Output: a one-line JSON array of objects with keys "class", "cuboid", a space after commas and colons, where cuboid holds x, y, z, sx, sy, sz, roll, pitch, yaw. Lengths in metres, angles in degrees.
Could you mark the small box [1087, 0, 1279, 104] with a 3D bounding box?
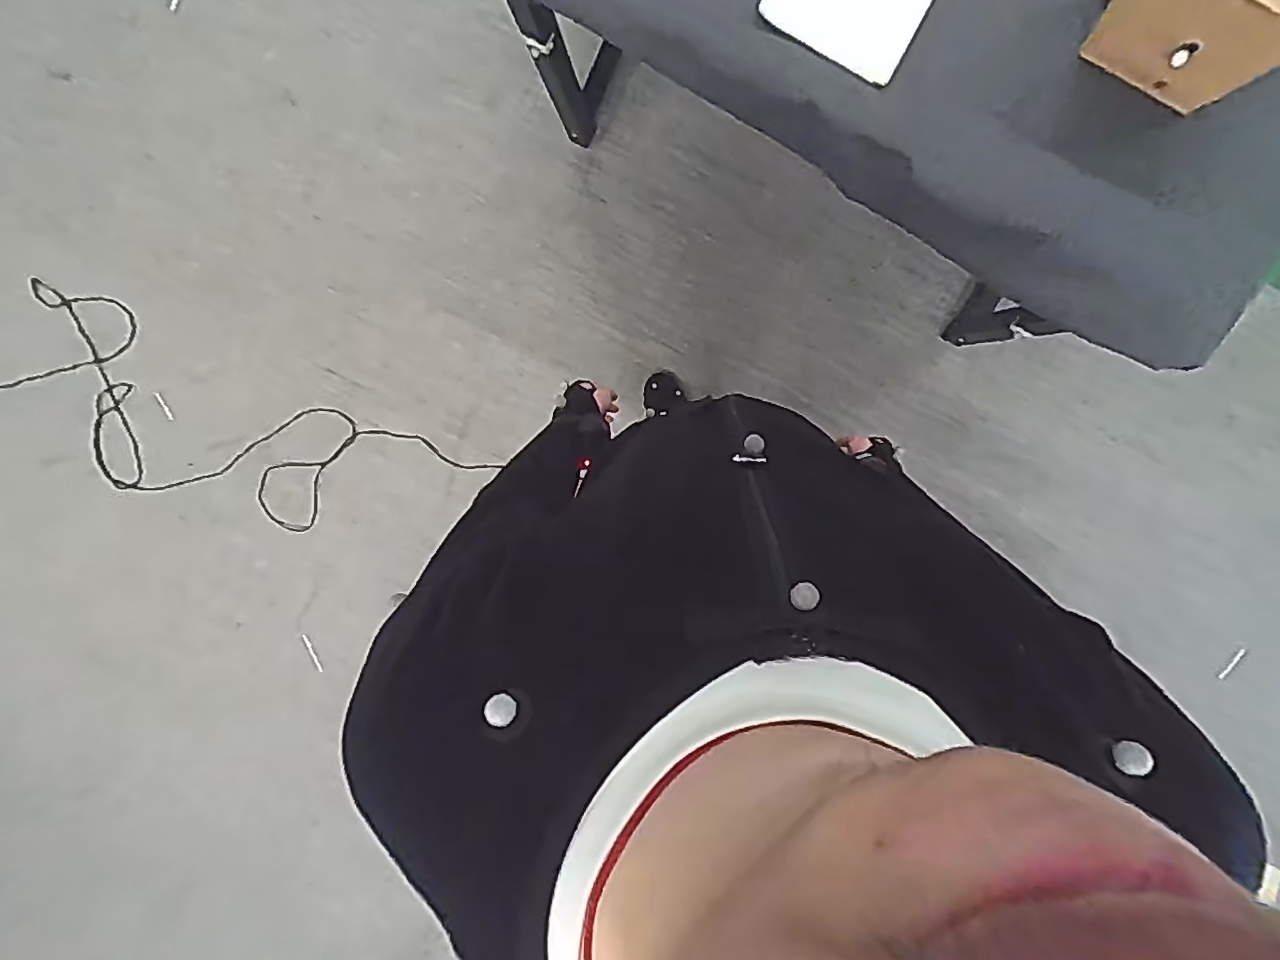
[{"class": "small box", "cuboid": [0.664, -0.574, 0.607, 0.168, 0.176, 0.179, 27, 102, -2]}]
